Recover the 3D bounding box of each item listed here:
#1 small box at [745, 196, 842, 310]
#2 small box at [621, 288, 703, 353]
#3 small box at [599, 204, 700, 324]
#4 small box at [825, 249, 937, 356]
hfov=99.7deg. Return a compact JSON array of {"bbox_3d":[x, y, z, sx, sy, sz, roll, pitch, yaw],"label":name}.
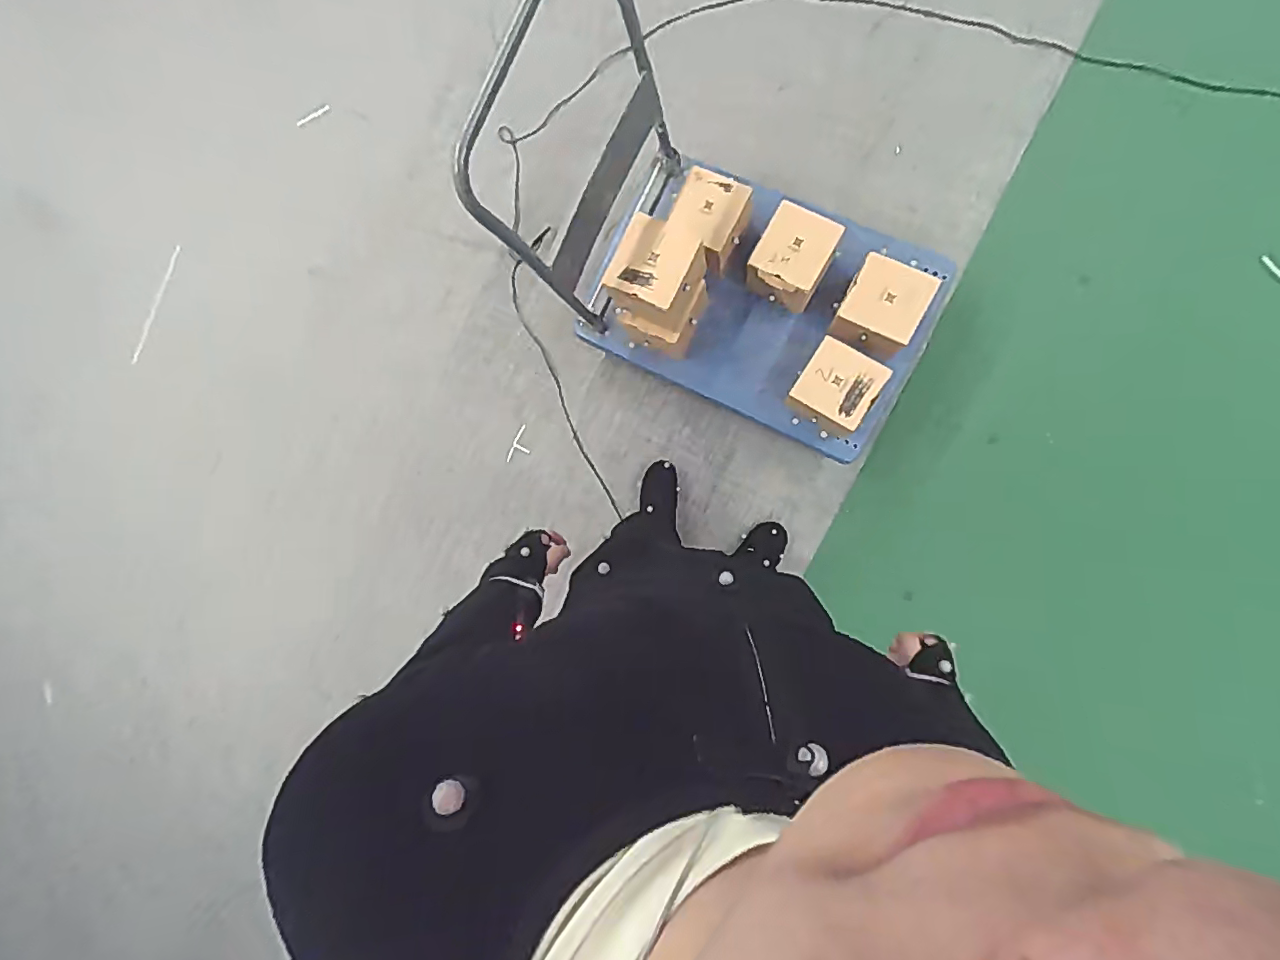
[{"bbox_3d":[0.373,-0.559,1.352,0.168,0.176,0.179,31,94,10],"label":"small box"},{"bbox_3d":[0.050,-0.461,1.414,0.168,0.176,0.179,-33,83,9],"label":"small box"},{"bbox_3d":[0.030,-0.485,1.243,0.168,0.176,0.179,27,93,8],"label":"small box"},{"bbox_3d":[0.573,-0.421,1.315,0.179,0.176,0.168,29,94,9],"label":"small box"}]
